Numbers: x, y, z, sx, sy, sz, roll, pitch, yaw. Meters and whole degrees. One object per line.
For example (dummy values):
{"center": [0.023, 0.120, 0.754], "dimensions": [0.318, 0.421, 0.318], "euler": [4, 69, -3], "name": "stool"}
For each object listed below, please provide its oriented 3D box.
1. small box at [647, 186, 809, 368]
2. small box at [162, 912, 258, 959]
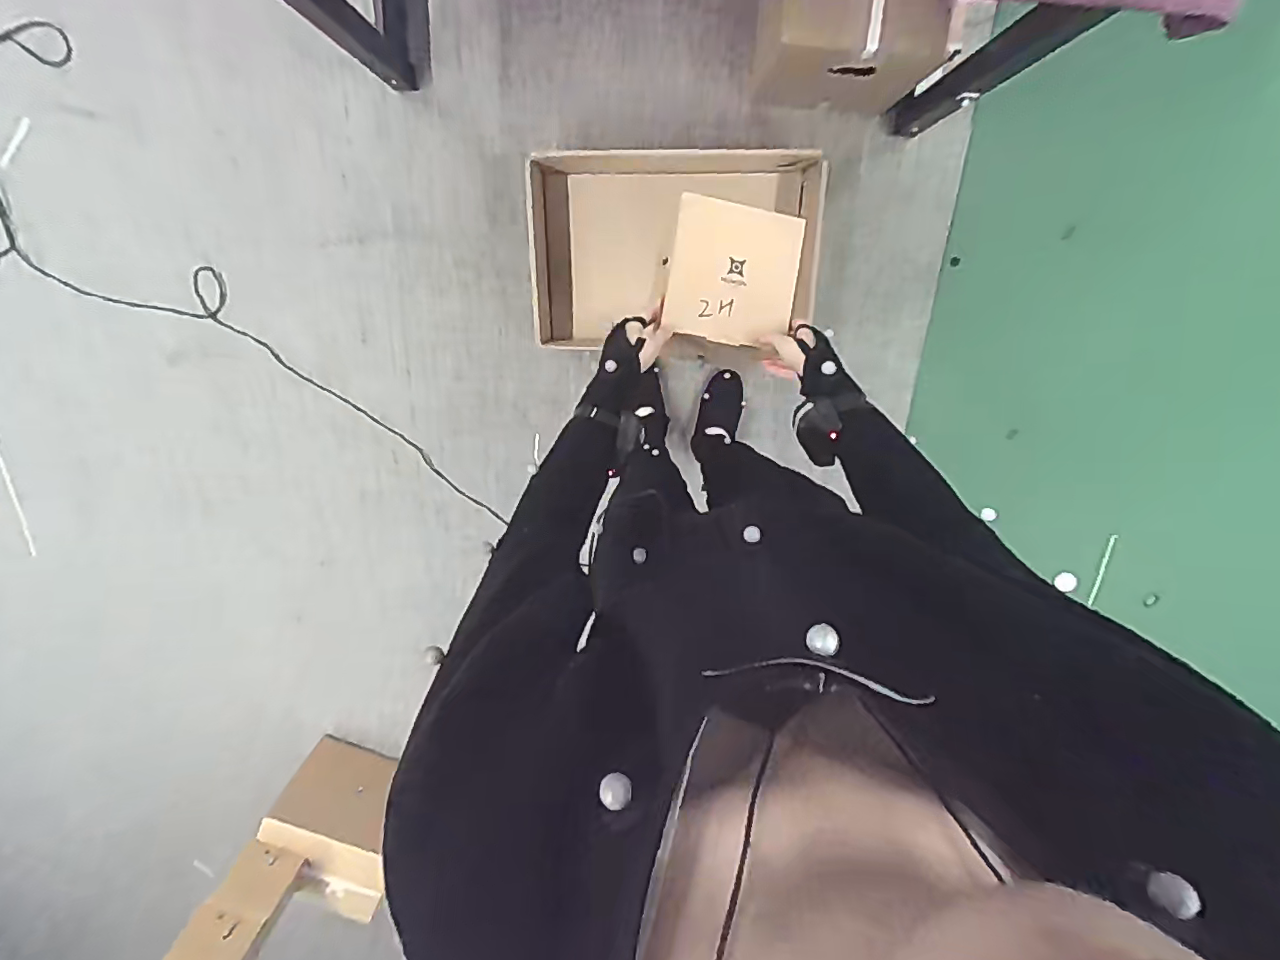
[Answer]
{"center": [0.110, -0.267, 0.753], "dimensions": [0.168, 0.176, 0.179], "euler": [9, 92, -8], "name": "small box"}
{"center": [-1.091, 1.232, 1.341], "dimensions": [0.168, 0.176, 0.179], "euler": [21, 107, -6], "name": "small box"}
